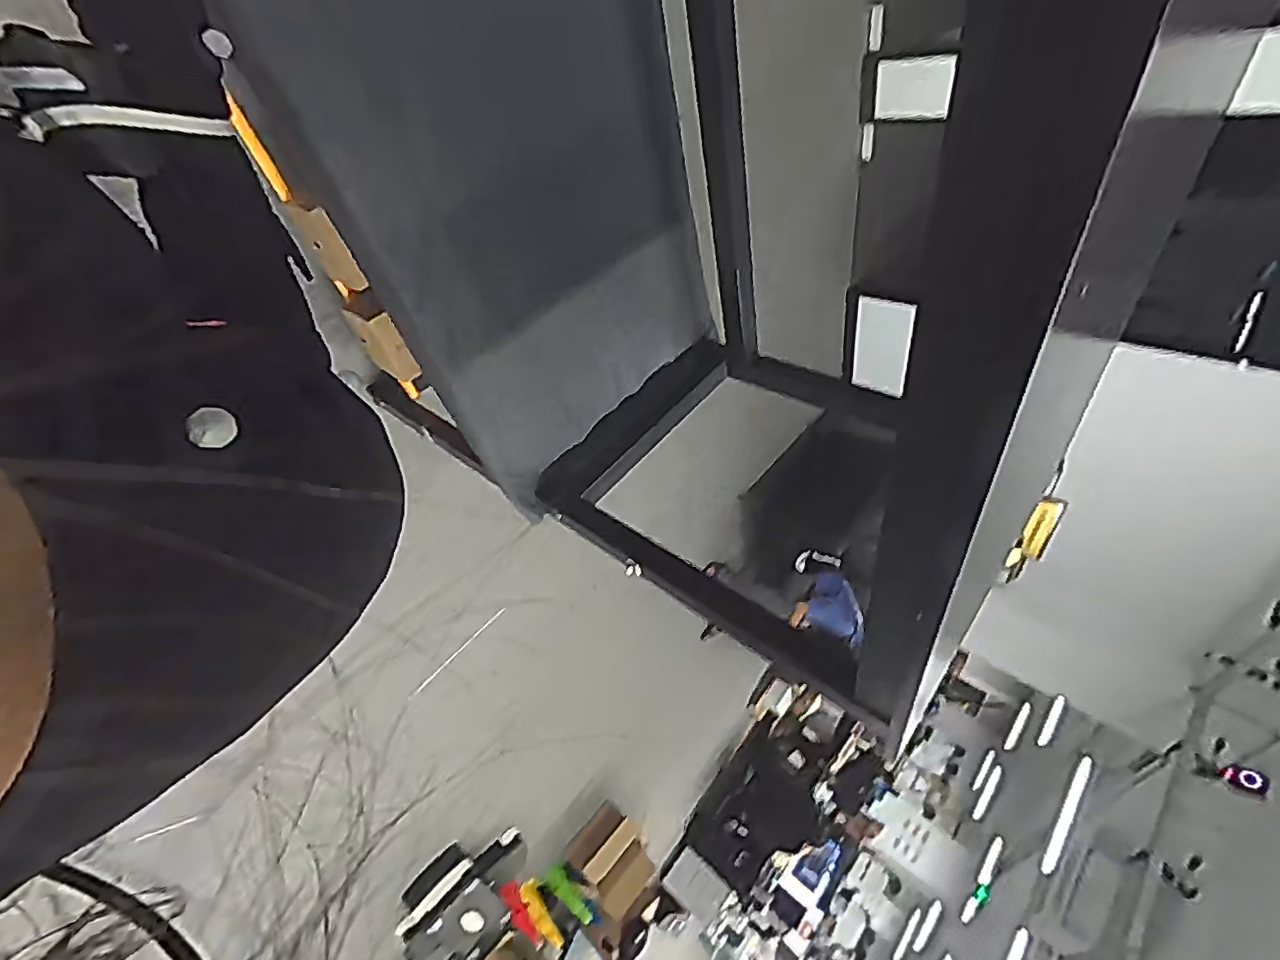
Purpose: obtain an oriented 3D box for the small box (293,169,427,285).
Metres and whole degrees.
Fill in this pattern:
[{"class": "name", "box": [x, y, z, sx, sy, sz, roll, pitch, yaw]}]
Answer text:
[{"class": "small box", "box": [-0.600, -0.541, 1.150, 0.179, 0.176, 0.168, -43, 140, -23]}]
